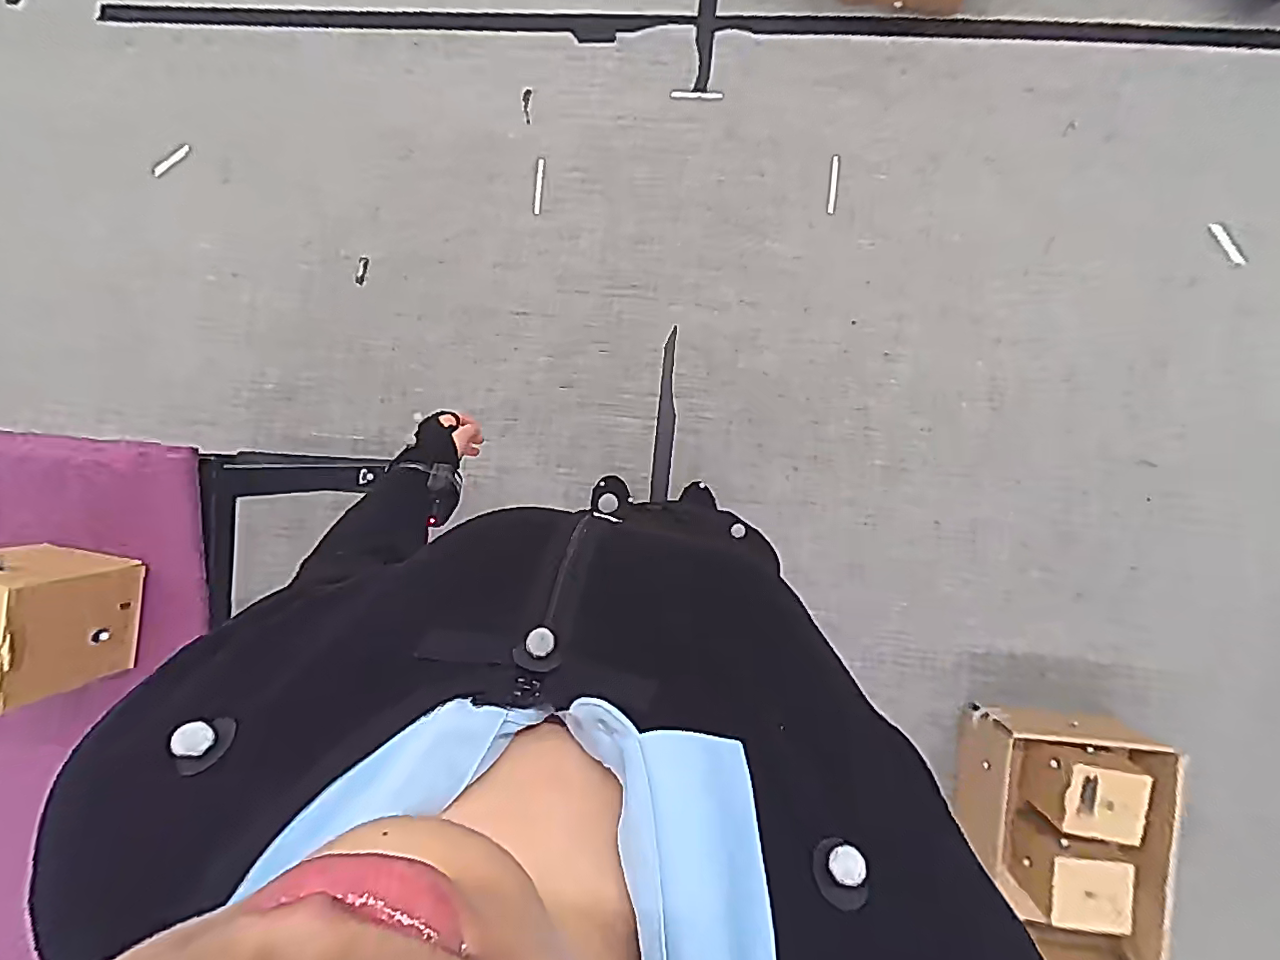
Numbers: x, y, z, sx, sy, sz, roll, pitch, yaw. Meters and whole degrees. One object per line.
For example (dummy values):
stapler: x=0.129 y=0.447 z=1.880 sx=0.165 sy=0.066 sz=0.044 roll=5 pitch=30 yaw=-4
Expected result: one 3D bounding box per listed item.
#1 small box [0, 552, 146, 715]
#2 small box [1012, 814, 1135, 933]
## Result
small box: x=-0.848 y=0.199 z=0.742 sx=0.179 sy=0.176 sz=0.168 roll=9 pitch=92 yaw=4
small box: x=1.053 y=0.956 z=1.328 sx=0.179 sy=0.176 sz=0.168 roll=3 pitch=91 yaw=4
